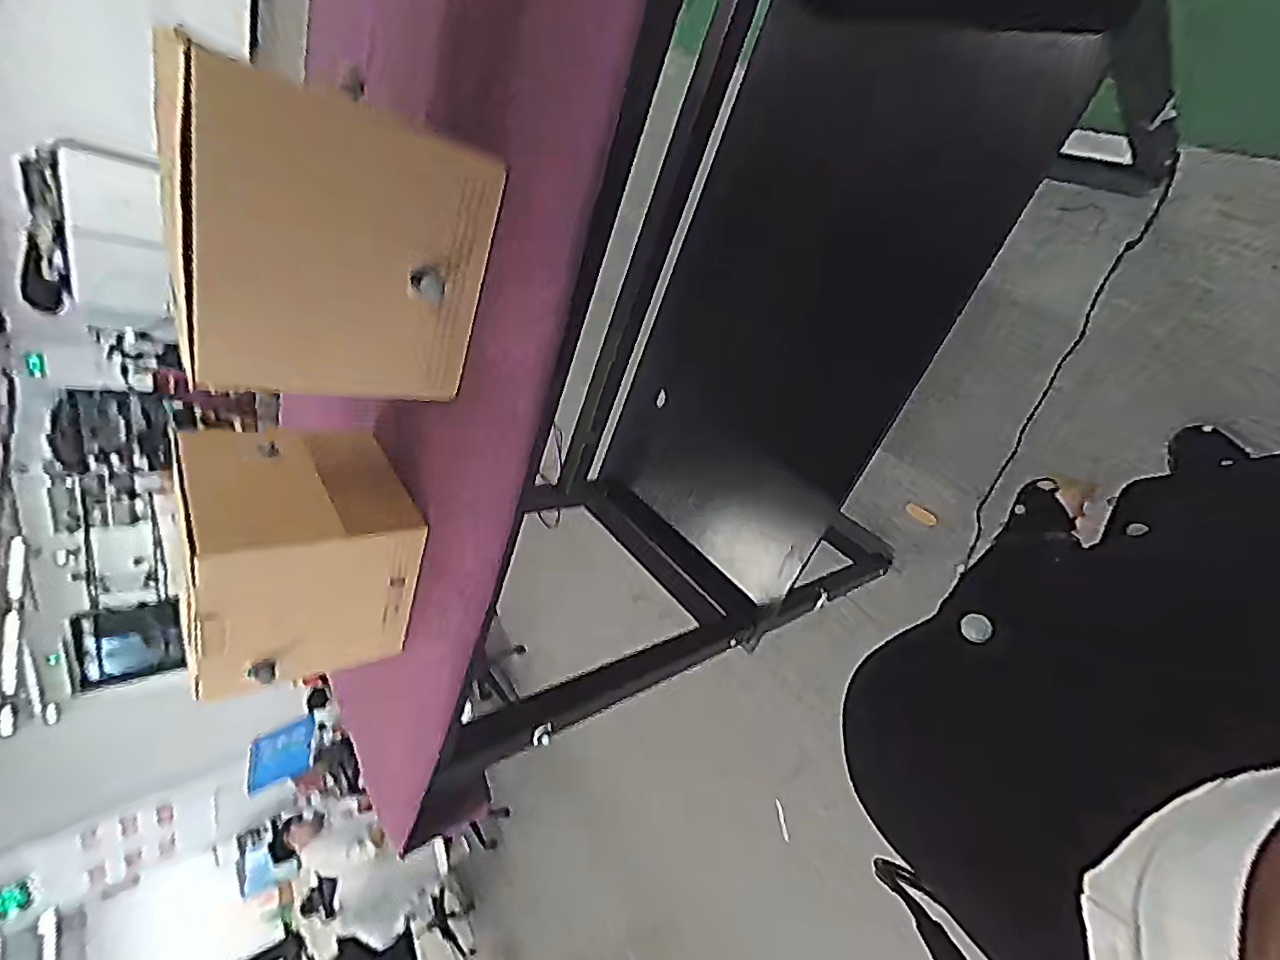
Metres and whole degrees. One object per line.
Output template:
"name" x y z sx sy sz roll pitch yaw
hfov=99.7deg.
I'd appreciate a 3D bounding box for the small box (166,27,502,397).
"small box" -0.220 -0.175 0.389 0.168 0.176 0.179 43 121 37
